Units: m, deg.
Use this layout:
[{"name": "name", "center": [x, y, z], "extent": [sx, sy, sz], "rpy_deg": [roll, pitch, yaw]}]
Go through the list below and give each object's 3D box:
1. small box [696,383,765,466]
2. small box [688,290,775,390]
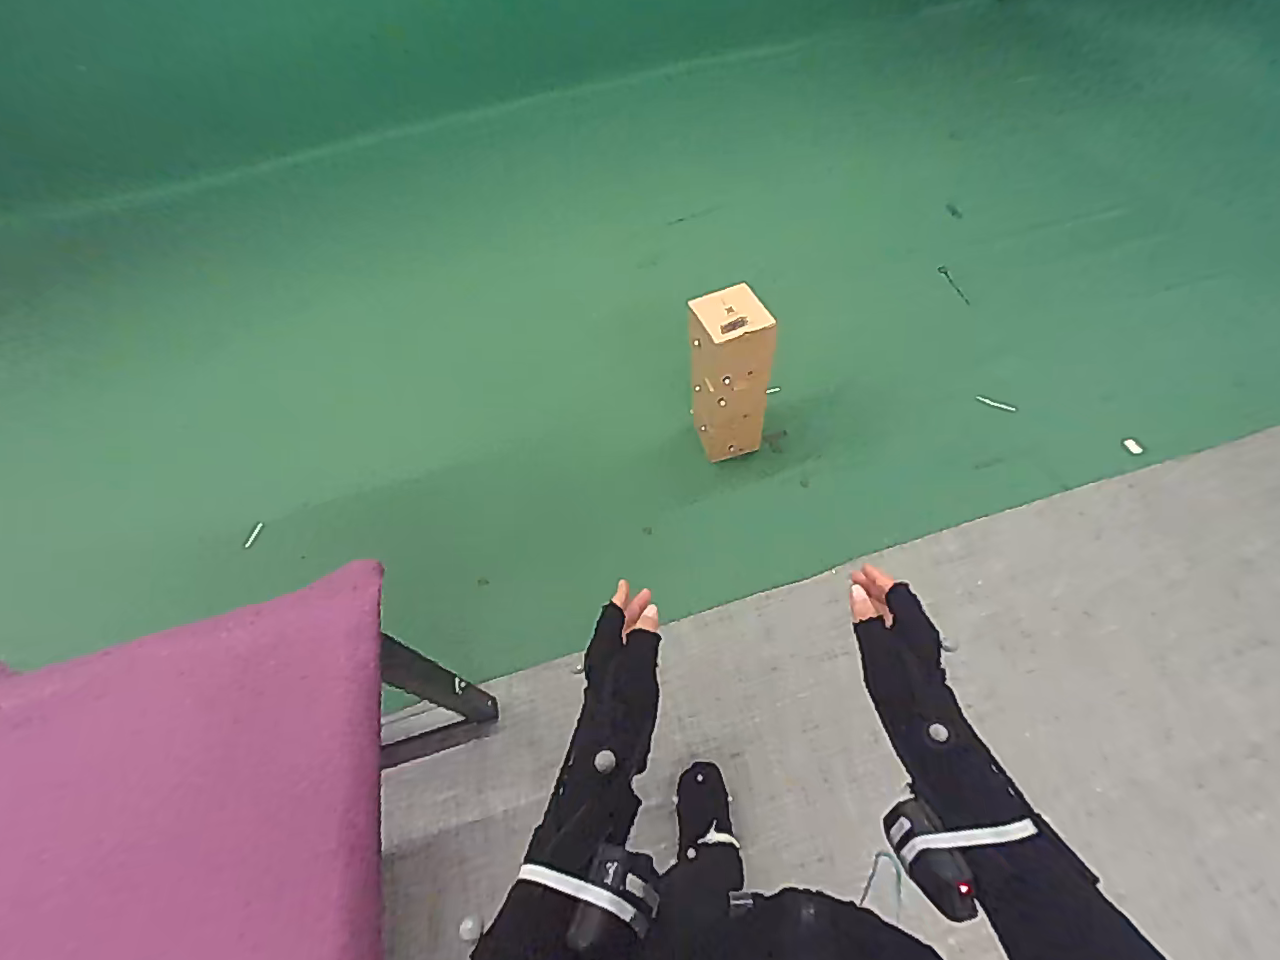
[{"name": "small box", "center": [0.276, -0.172, 1.695], "extent": [0.168, 0.176, 0.179], "rpy_deg": [-16, 57, -4]}, {"name": "small box", "center": [0.238, -0.361, 1.427], "extent": [0.168, 0.176, 0.179], "rpy_deg": [-20, 56, -7]}]
